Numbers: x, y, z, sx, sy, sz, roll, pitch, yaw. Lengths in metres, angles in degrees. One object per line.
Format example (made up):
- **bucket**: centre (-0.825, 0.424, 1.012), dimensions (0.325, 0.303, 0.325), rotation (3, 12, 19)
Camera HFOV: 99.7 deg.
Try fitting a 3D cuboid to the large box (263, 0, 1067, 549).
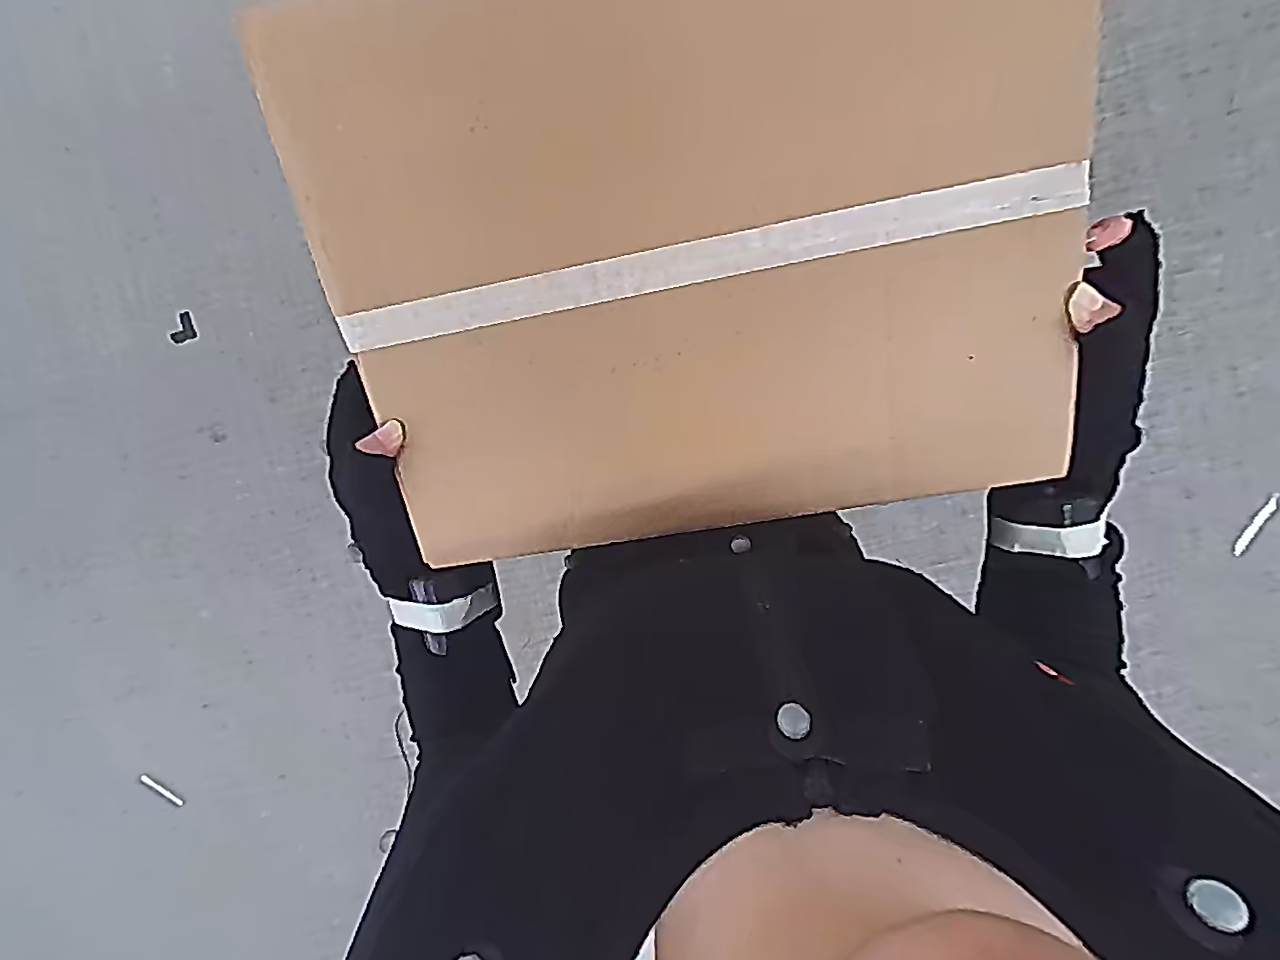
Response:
- **large box**: centre (0.029, -0.174, 0.445), dimensions (0.408, 0.320, 0.320), rotation (-9, 109, 6)
